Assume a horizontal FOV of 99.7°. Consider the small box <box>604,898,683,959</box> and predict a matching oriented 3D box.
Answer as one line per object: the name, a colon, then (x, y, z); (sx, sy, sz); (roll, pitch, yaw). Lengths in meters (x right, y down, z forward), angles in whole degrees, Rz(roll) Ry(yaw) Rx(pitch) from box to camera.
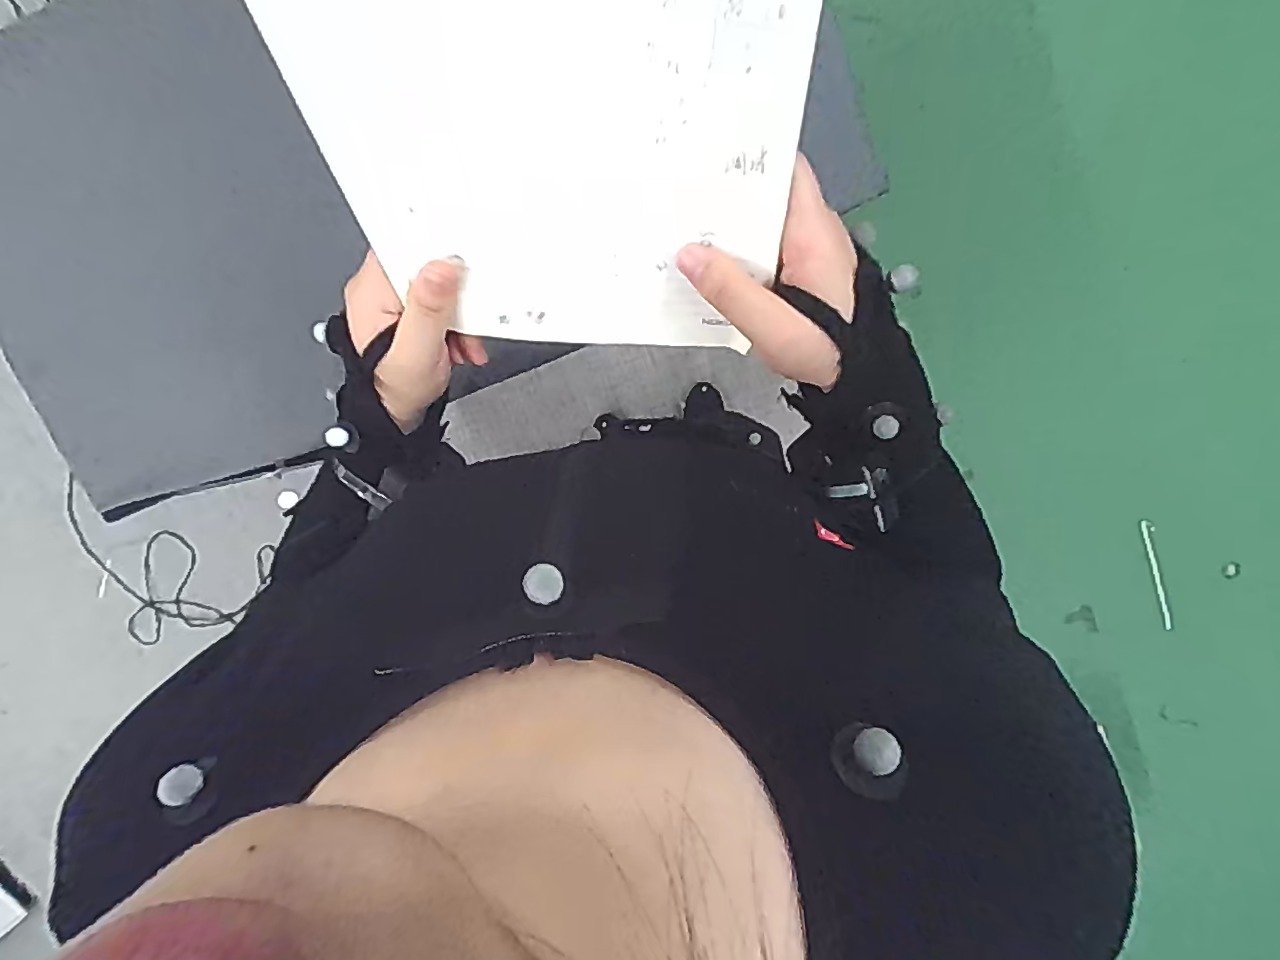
small box: (0.013, 1.264, 1.442); (0.179, 0.176, 0.168); (-19, 96, 8)
